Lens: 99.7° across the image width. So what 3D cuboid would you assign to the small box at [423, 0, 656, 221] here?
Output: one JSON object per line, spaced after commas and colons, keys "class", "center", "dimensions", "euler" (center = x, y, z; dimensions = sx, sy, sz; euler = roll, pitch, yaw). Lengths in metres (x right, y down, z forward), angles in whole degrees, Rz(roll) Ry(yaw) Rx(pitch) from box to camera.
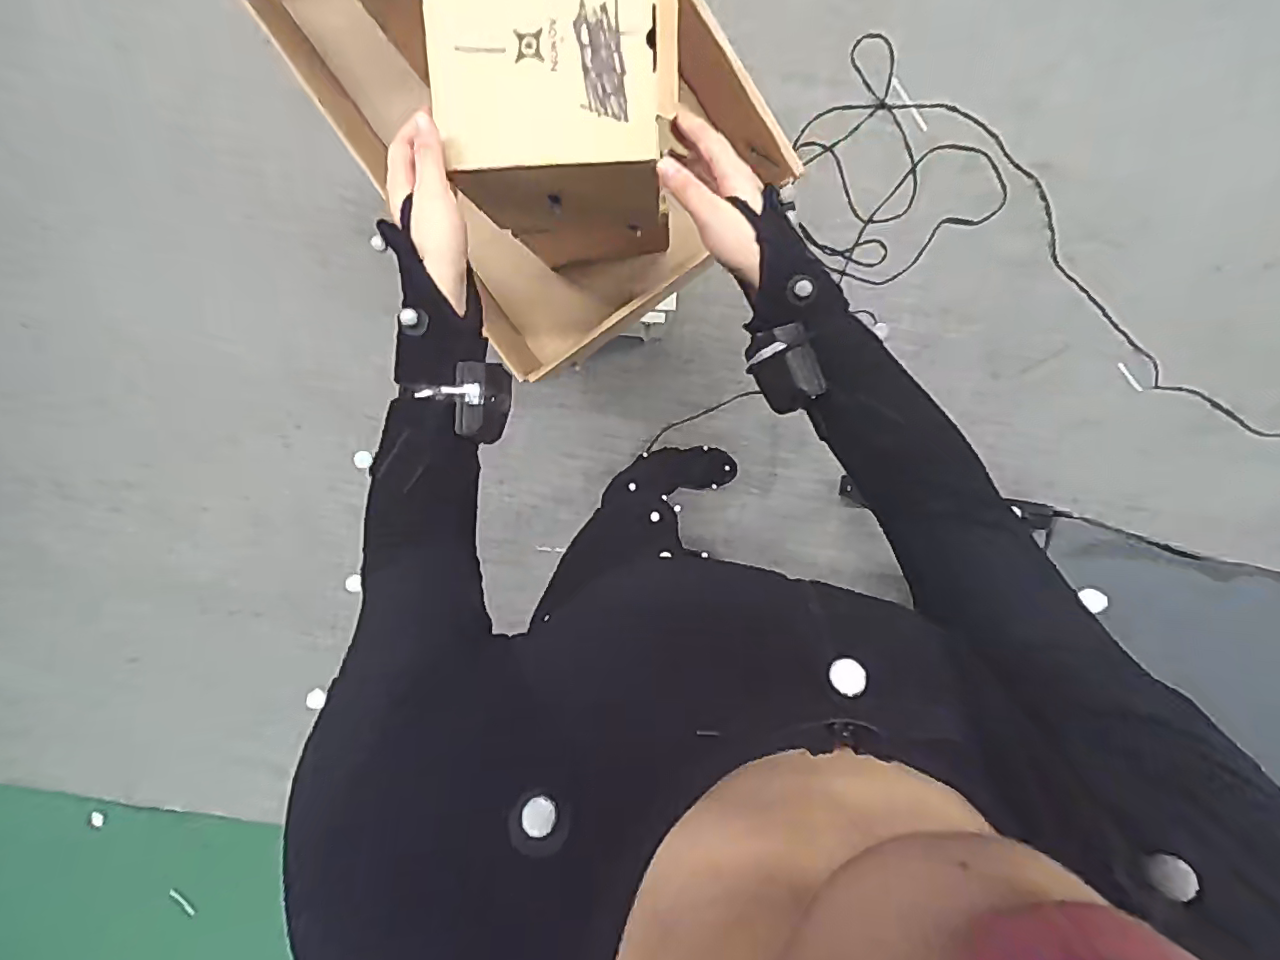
{"class": "small box", "center": [-0.073, -0.345, 0.488], "dimensions": [0.179, 0.176, 0.168], "euler": [-1, 100, 4]}
